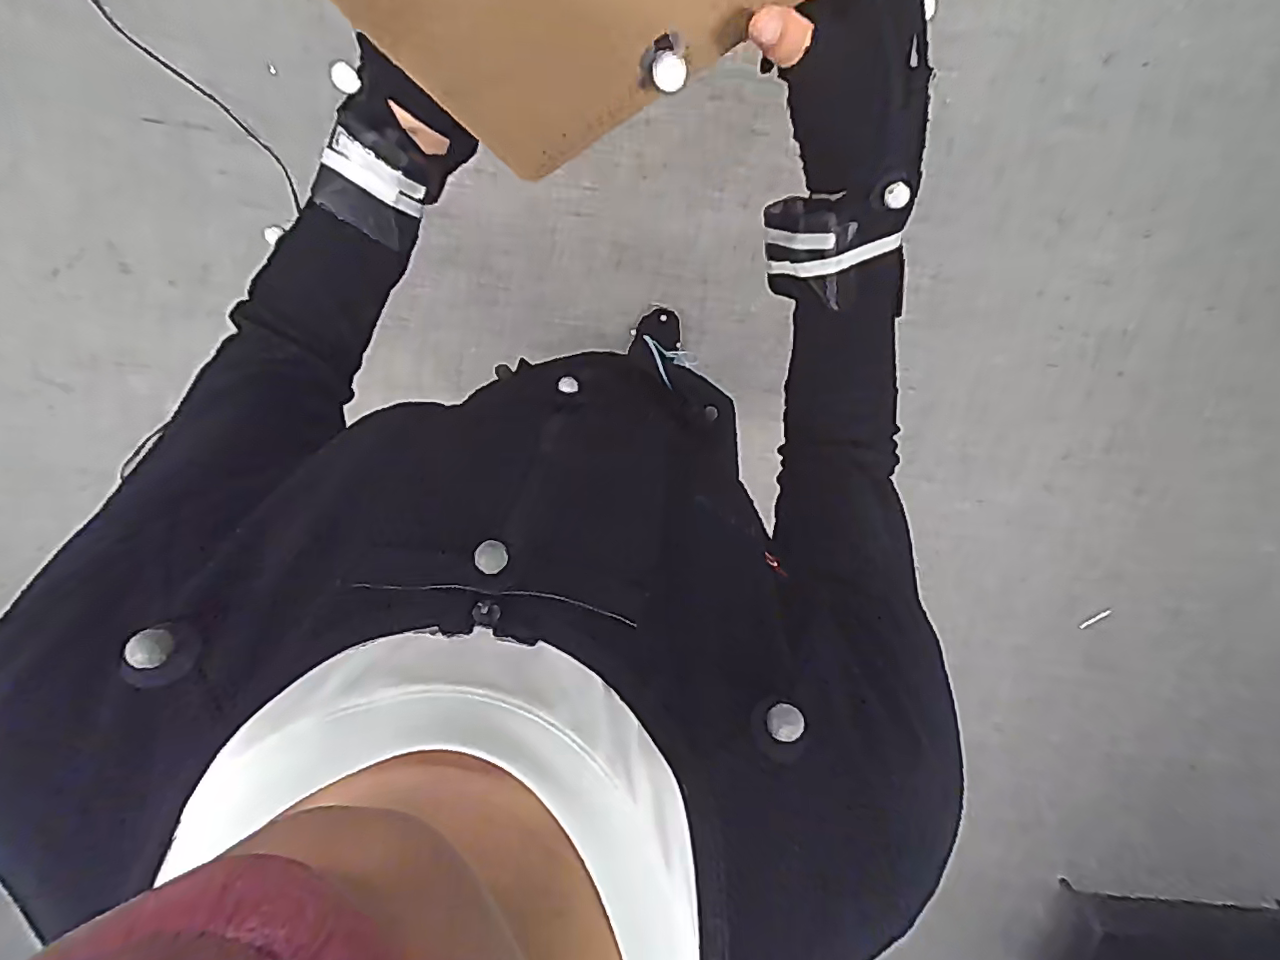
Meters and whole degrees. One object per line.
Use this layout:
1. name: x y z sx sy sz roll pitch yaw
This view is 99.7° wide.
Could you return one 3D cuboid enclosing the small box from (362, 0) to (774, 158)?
1. small box: -0.033 -0.257 0.186 0.179 0.176 0.168 -27 98 13
